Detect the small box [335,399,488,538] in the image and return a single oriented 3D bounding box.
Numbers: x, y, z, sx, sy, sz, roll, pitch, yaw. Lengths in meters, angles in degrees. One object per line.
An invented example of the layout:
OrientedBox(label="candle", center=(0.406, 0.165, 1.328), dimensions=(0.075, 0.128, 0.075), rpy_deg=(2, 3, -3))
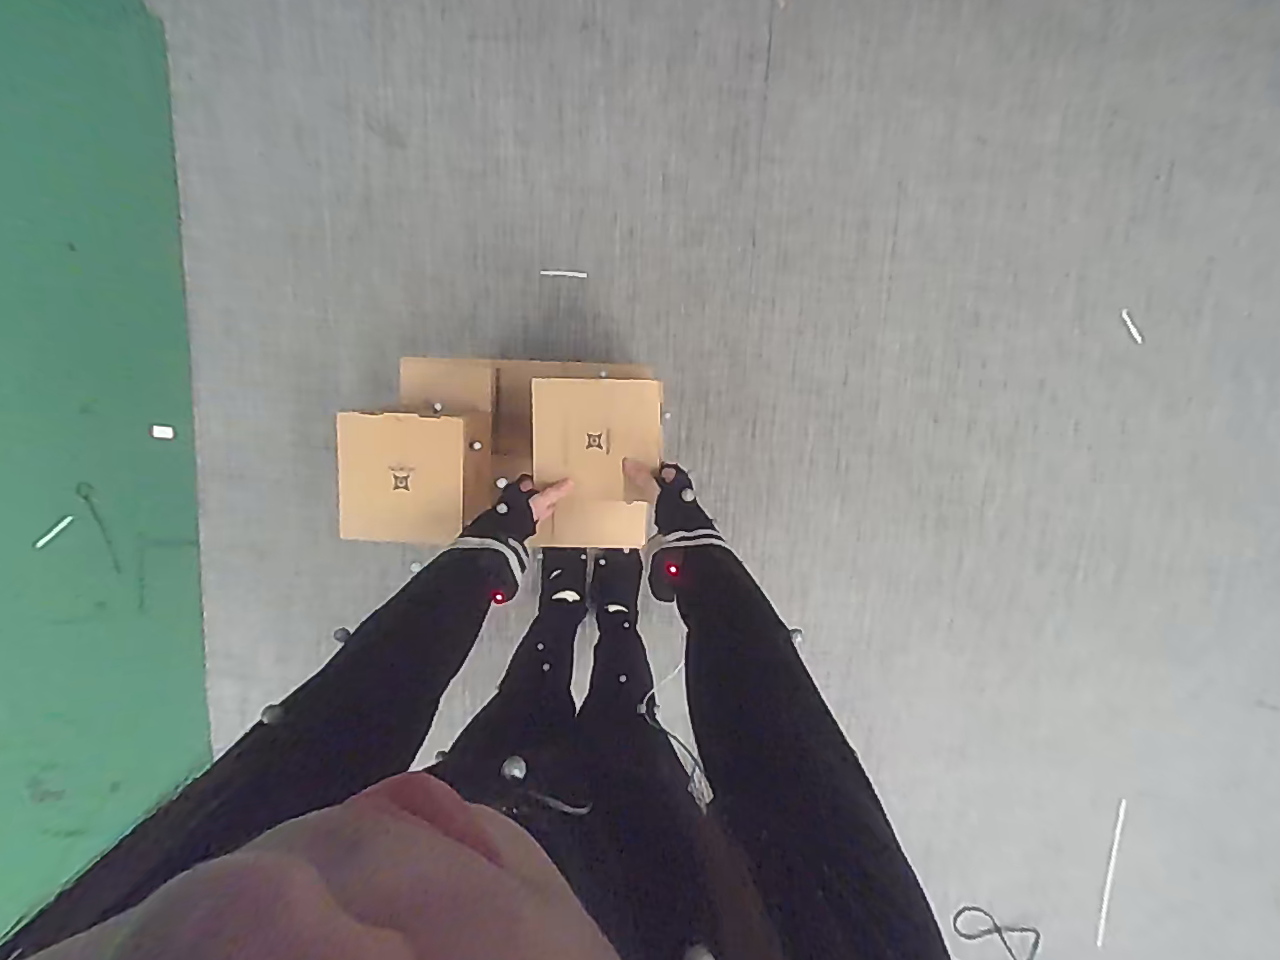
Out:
OrientedBox(label="small box", center=(-0.326, -0.025, 0.801), dimensions=(0.168, 0.176, 0.179), rpy_deg=(4, 99, -4))

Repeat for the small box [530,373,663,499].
OrientedBox(label="small box", center=(-0.061, -0.069, 0.804), dimensions=(0.179, 0.176, 0.168), rpy_deg=(2, 98, 0))
